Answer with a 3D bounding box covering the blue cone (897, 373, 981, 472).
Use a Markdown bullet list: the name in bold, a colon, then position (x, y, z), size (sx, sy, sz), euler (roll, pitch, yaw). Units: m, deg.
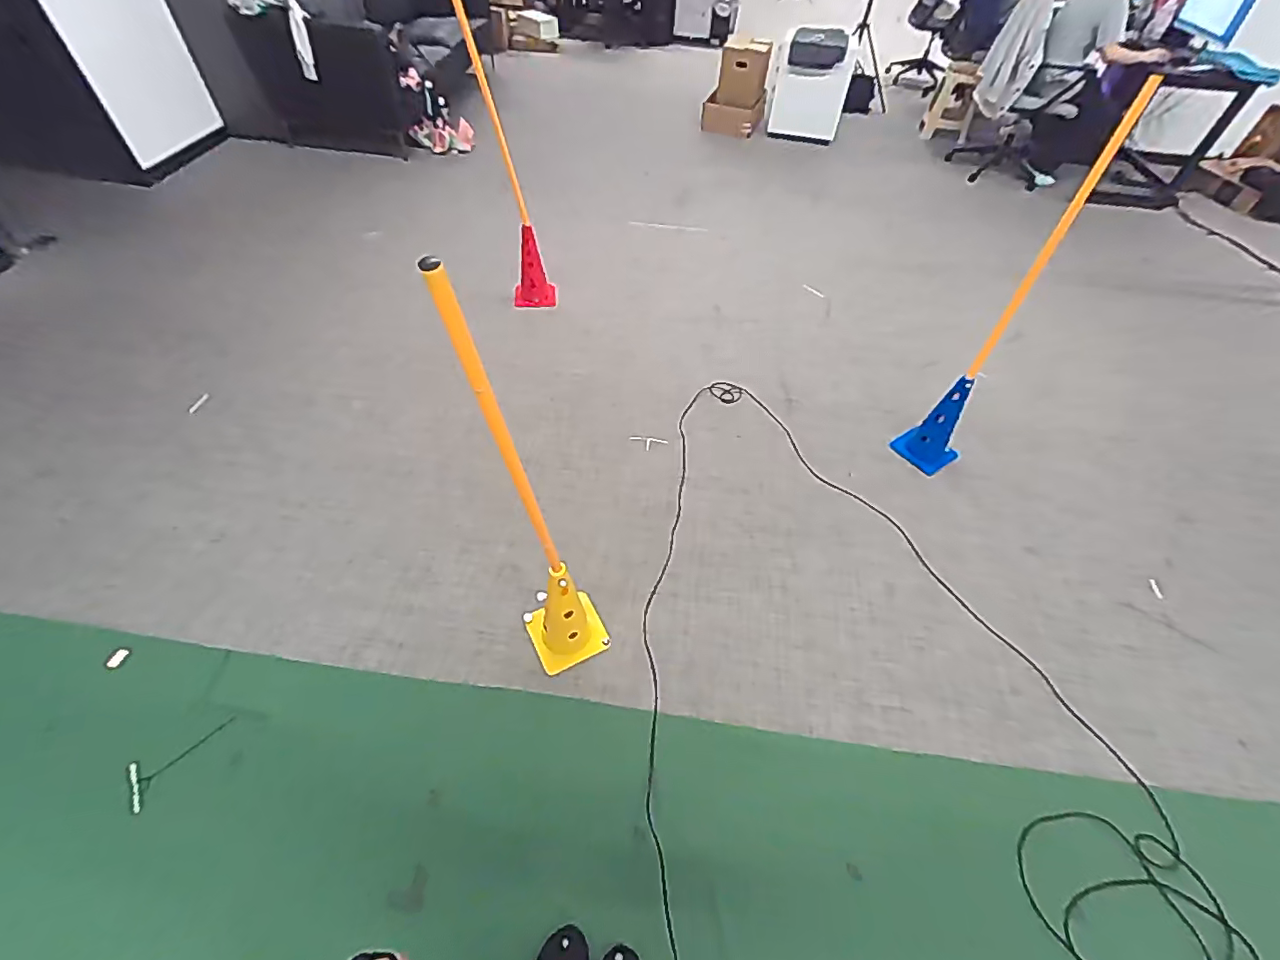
- **blue cone**: position (1.109, -0.231, 1.950), size (0.193, 0.380, 0.192), euler (-28, 56, -26)
